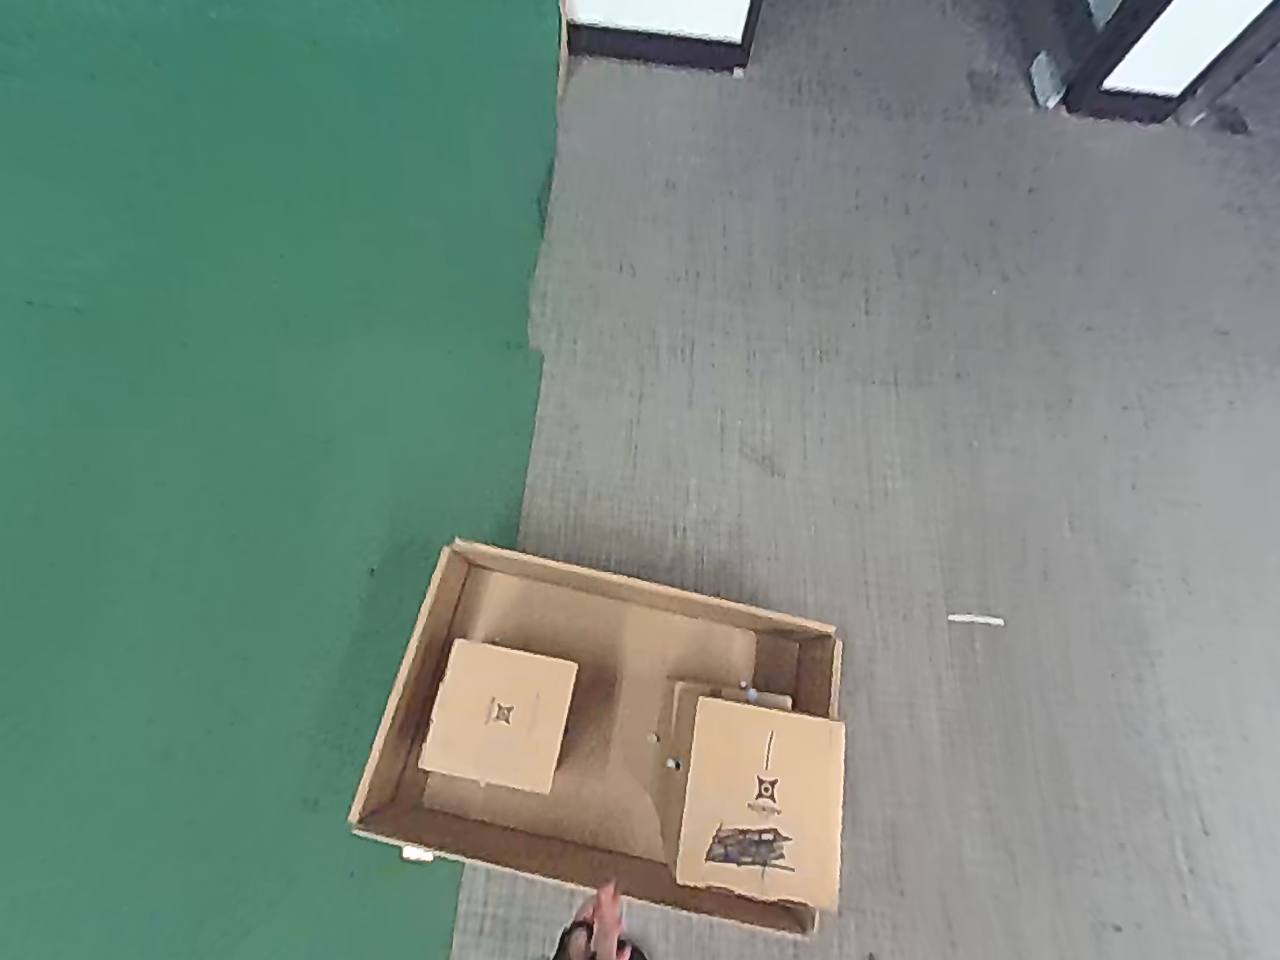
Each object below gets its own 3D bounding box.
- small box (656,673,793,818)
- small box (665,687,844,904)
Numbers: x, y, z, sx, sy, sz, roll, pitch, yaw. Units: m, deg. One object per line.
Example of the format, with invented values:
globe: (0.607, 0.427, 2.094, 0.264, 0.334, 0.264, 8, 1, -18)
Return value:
small box: (0.116, 0.391, 0.798, 0.168, 0.176, 0.179, 9, 72, 0)
small box: (0.125, 0.352, 0.638, 0.168, 0.176, 0.179, 10, 70, 0)
